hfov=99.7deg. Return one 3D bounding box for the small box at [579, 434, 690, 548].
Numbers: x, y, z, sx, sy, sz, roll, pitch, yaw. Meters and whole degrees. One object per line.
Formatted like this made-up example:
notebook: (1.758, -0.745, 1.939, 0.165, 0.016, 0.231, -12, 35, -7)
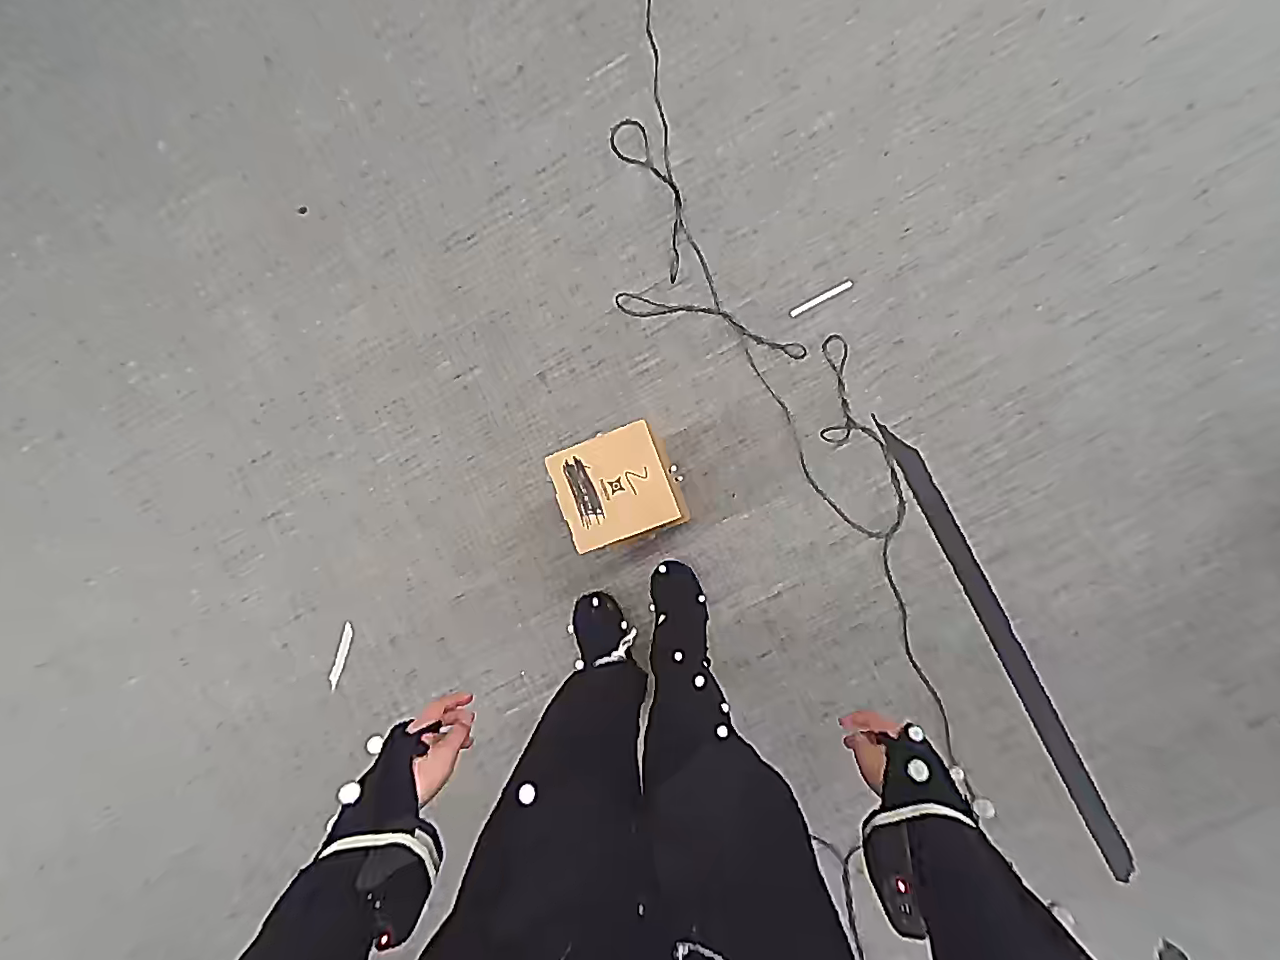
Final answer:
small box: (-0.005, 0.022, 1.082, 0.168, 0.176, 0.179, -21, 89, 6)
